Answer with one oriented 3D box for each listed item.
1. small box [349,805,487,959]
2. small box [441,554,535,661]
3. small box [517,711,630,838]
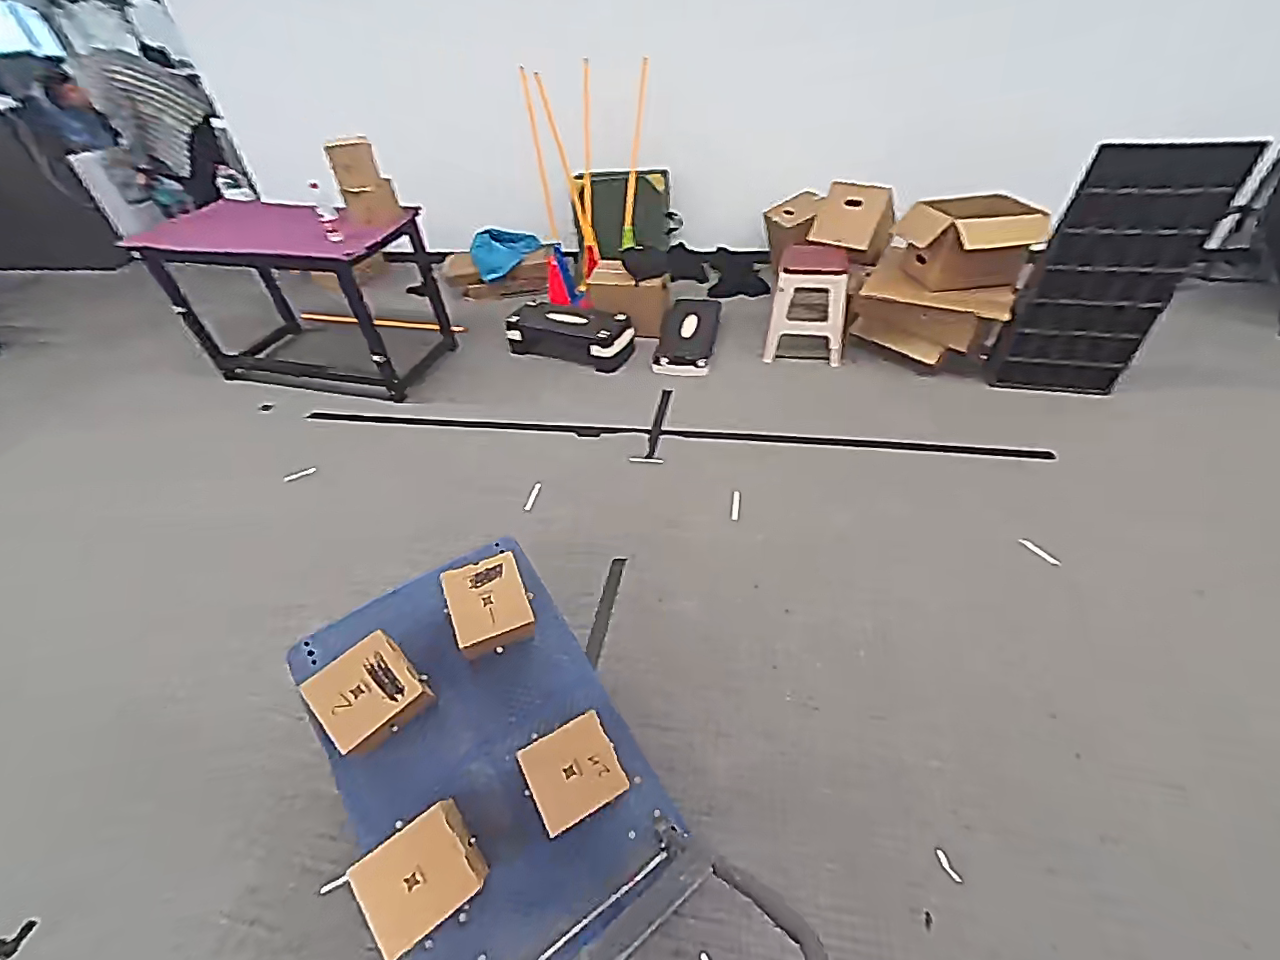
[{"bbox_3d":[-0.405,0.745,1.015,0.179,0.176,0.168,-31,71,-25],"label":"small box"},{"bbox_3d":[-0.352,0.301,1.262,0.168,0.176,0.179,-18,68,-19],"label":"small box"},{"bbox_3d":[-0.142,0.612,1.134,0.179,0.176,0.168,-23,69,-21],"label":"small box"}]
